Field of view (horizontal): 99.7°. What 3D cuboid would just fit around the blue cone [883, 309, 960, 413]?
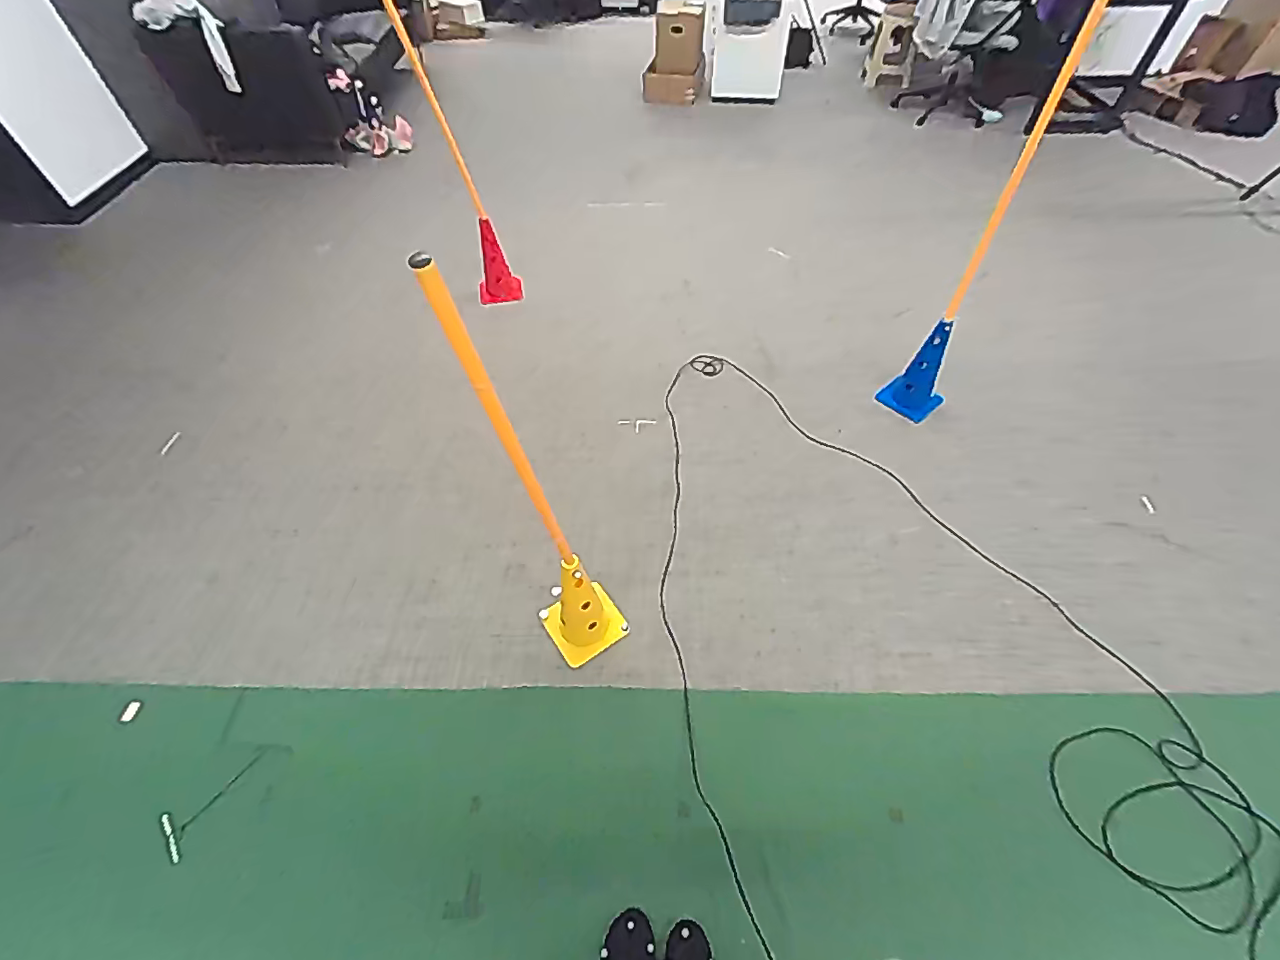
[{"bbox_3d":[1.052,-0.447,1.959,0.193,0.380,0.192,-37,59,-26],"label":"blue cone"}]
